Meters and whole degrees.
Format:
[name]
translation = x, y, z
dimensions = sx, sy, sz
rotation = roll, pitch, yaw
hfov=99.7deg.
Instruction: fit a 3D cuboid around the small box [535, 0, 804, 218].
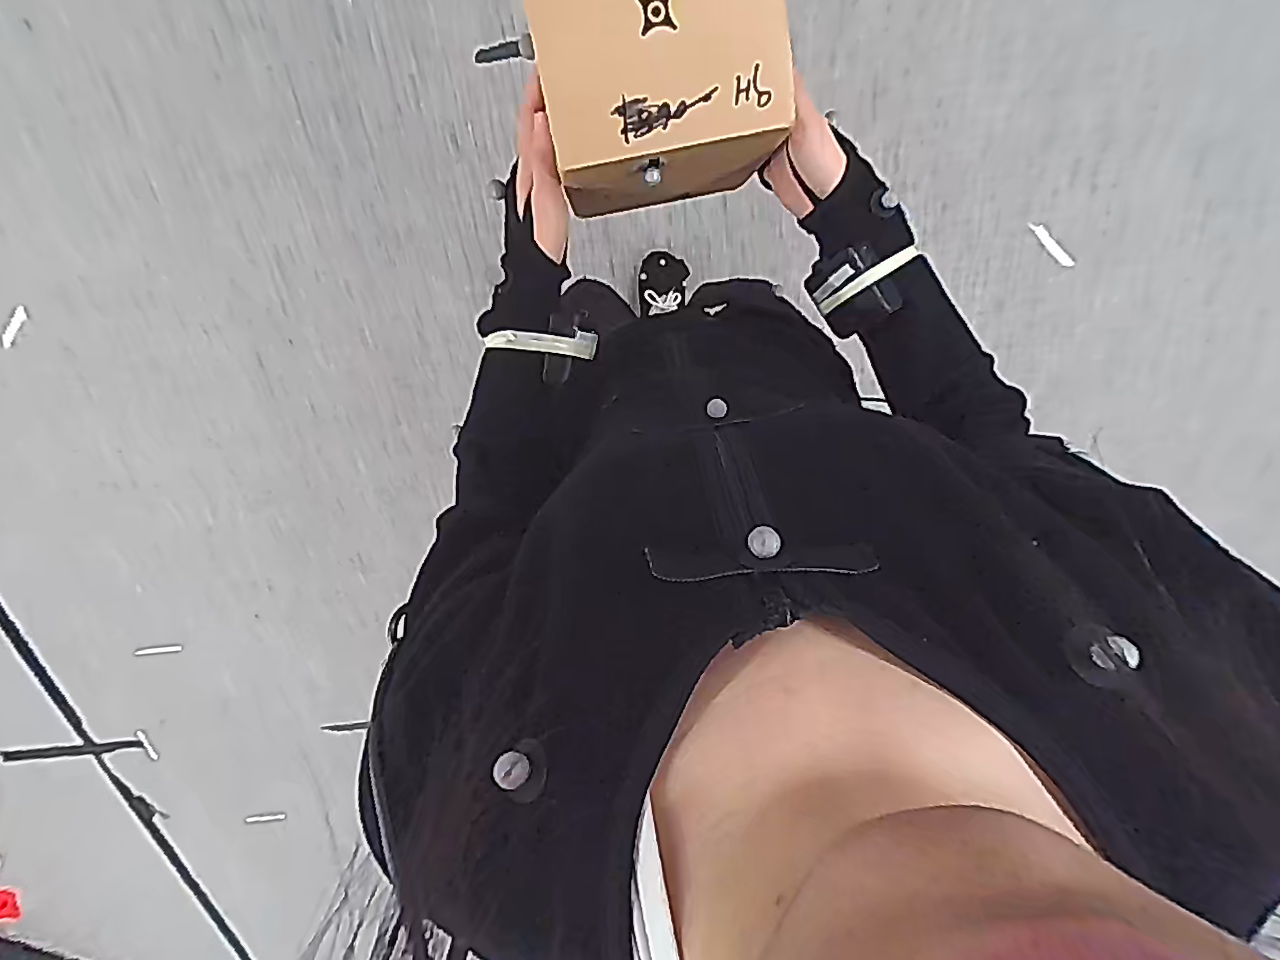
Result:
[small box]
translation = 0.011, -0.325, 0.417
dimensions = 0.168, 0.176, 0.179
rotation = -11, 105, 0
